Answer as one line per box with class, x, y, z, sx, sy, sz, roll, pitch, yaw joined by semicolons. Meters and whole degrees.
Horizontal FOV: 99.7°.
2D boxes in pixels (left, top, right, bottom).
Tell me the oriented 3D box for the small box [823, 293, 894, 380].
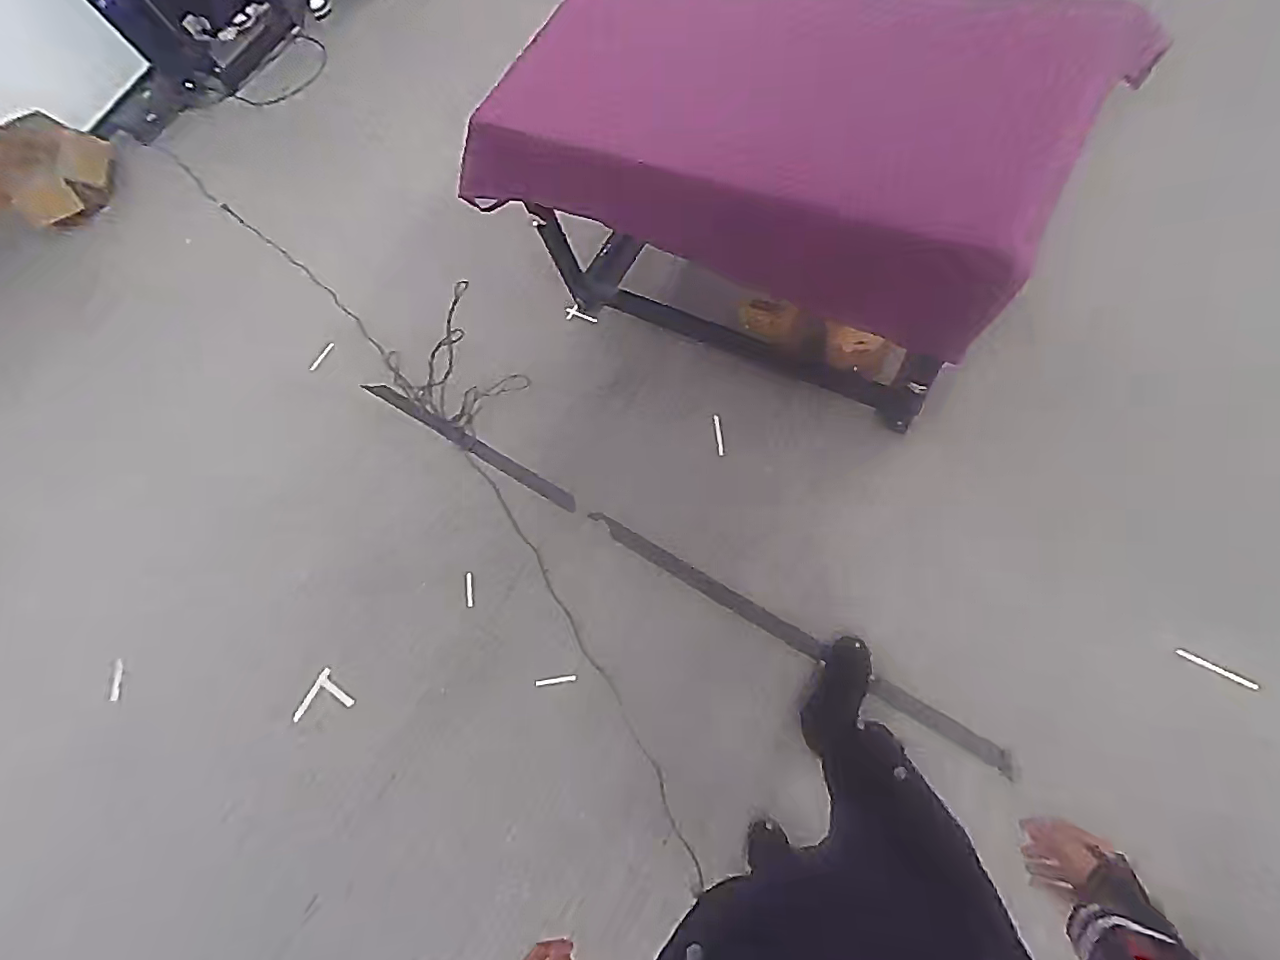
small box;0.632;-0.416;1.582;0.168;0.176;0.179;-2;69;14
